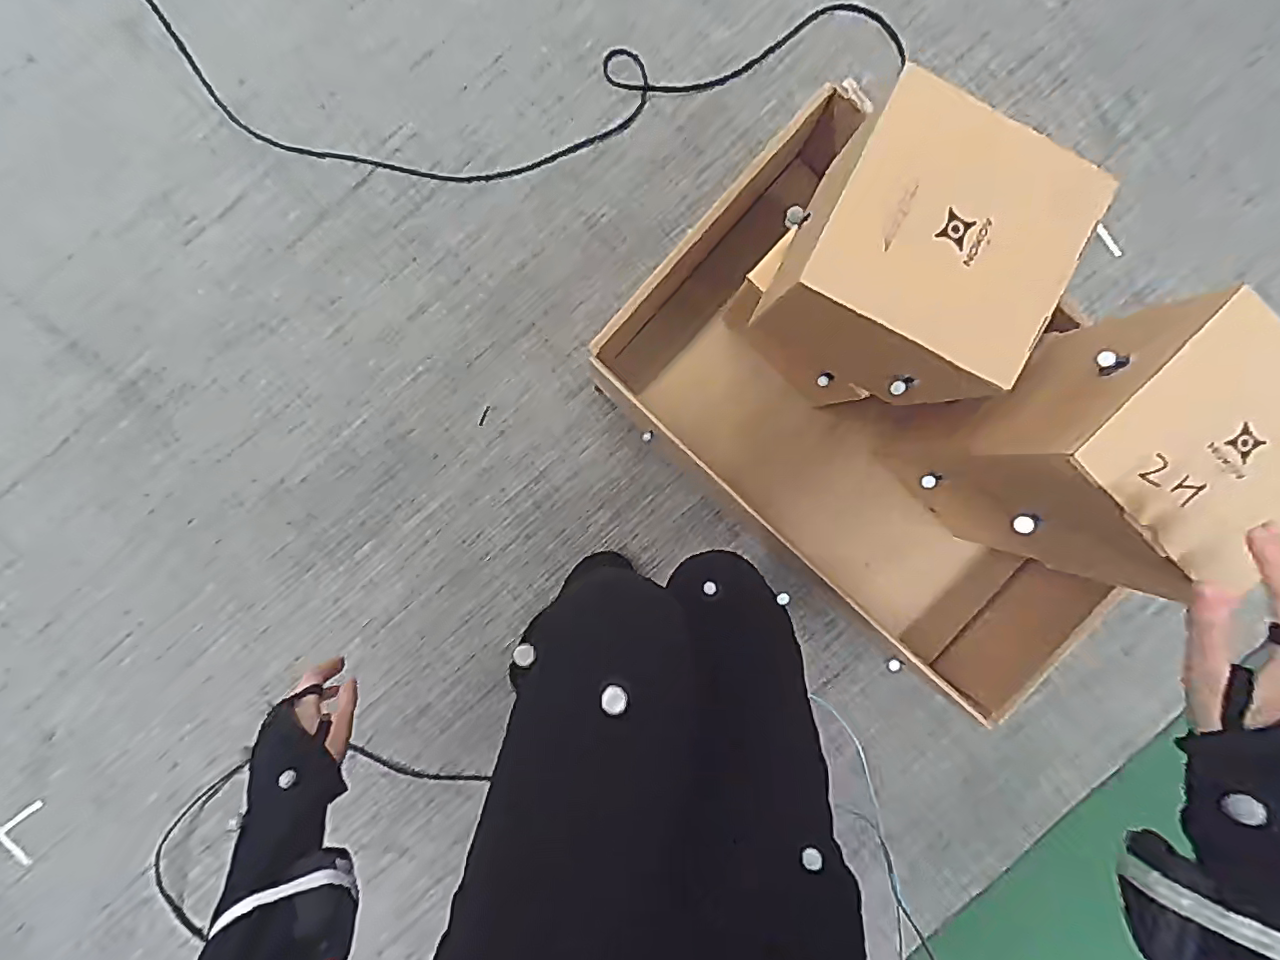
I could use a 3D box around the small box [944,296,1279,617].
[{"bbox_3d":[0.415,-0.020,0.468,0.168,0.176,0.179,45,92,-3],"label":"small box"}]
